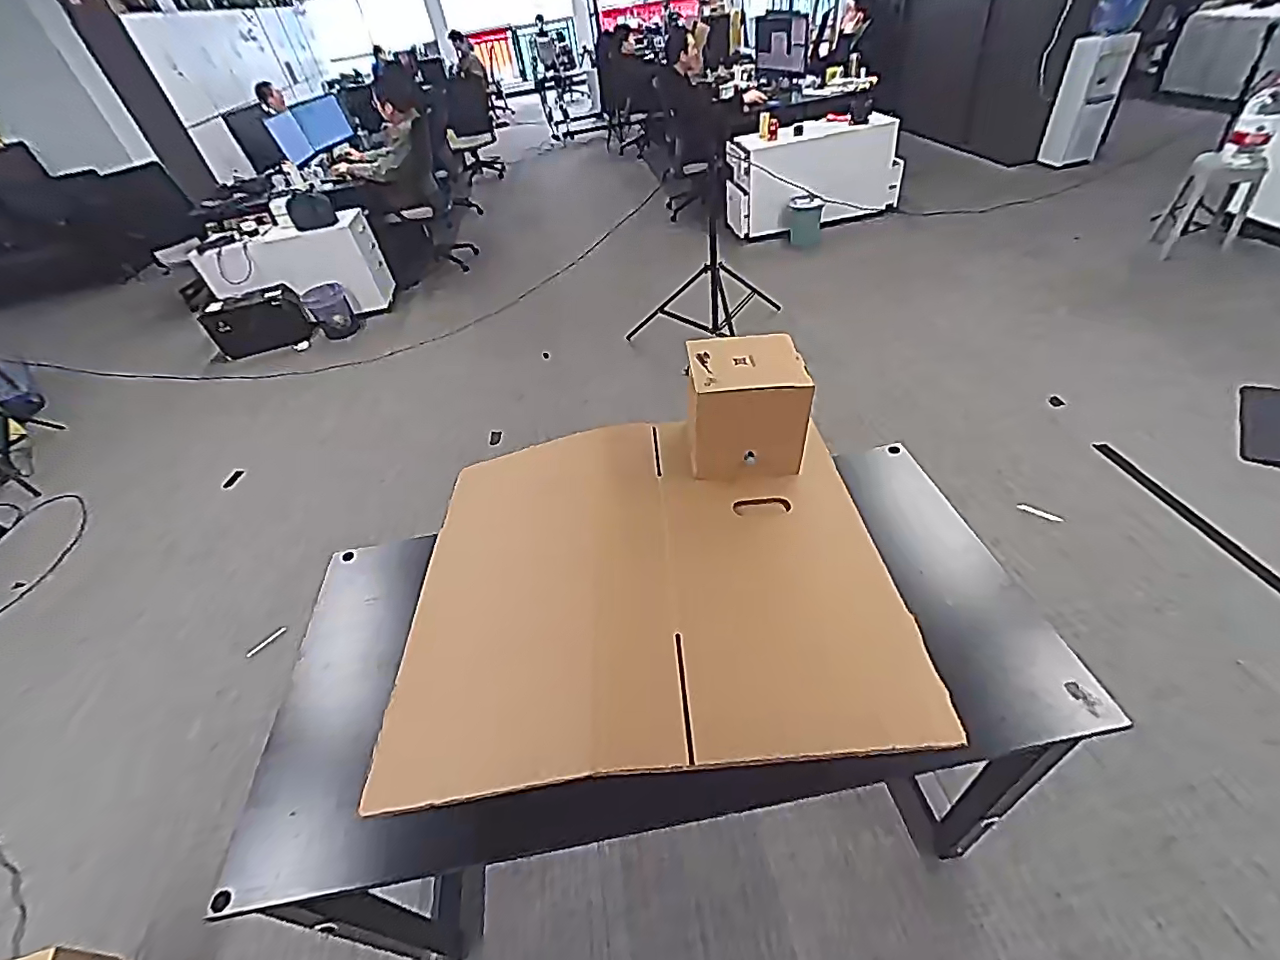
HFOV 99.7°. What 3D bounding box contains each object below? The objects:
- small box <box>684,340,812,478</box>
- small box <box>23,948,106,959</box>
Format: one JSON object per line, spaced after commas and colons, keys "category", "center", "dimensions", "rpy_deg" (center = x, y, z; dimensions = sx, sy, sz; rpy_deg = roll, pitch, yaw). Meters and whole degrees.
{"category": "small box", "center": [0.167, -0.117, 0.902], "dimensions": [0.179, 0.176, 0.168], "rpy_deg": [-3, 40, 0]}
{"category": "small box", "center": [-1.143, 1.021, 1.008], "dimensions": [0.168, 0.176, 0.179], "rpy_deg": [-15, 42, -7]}
